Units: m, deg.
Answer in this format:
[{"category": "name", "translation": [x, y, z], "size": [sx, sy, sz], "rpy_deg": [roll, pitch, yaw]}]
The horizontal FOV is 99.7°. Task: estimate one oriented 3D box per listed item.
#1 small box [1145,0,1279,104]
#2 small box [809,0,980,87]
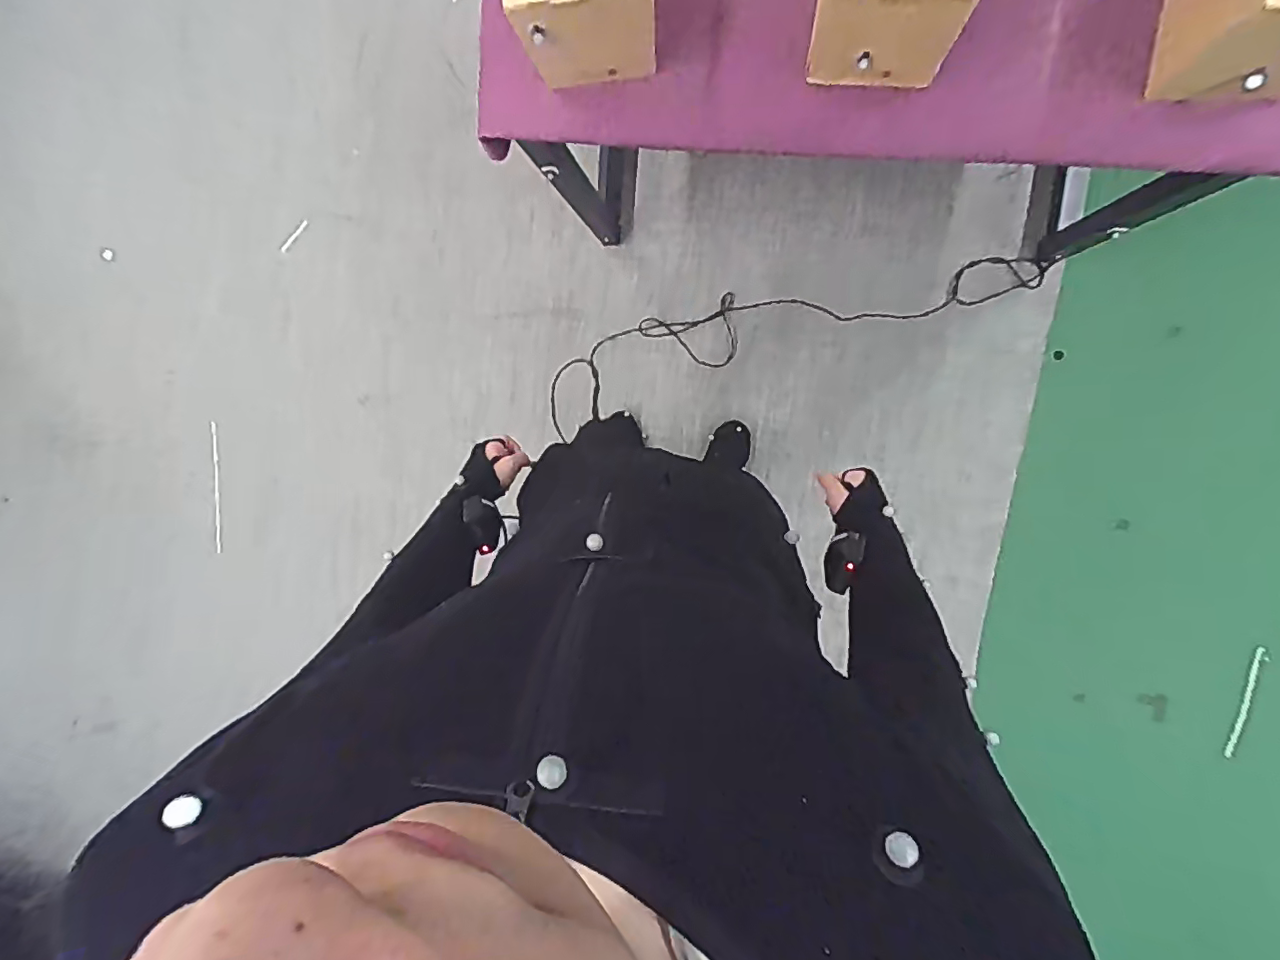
[{"category": "small box", "translation": [0.720, -0.555, 0.597], "size": [0.168, 0.176, 0.179], "rpy_deg": [7, 101, 9]}, {"category": "small box", "translation": [0.311, -0.623, 0.655], "size": [0.168, 0.176, 0.179], "rpy_deg": [9, 100, 7]}]
